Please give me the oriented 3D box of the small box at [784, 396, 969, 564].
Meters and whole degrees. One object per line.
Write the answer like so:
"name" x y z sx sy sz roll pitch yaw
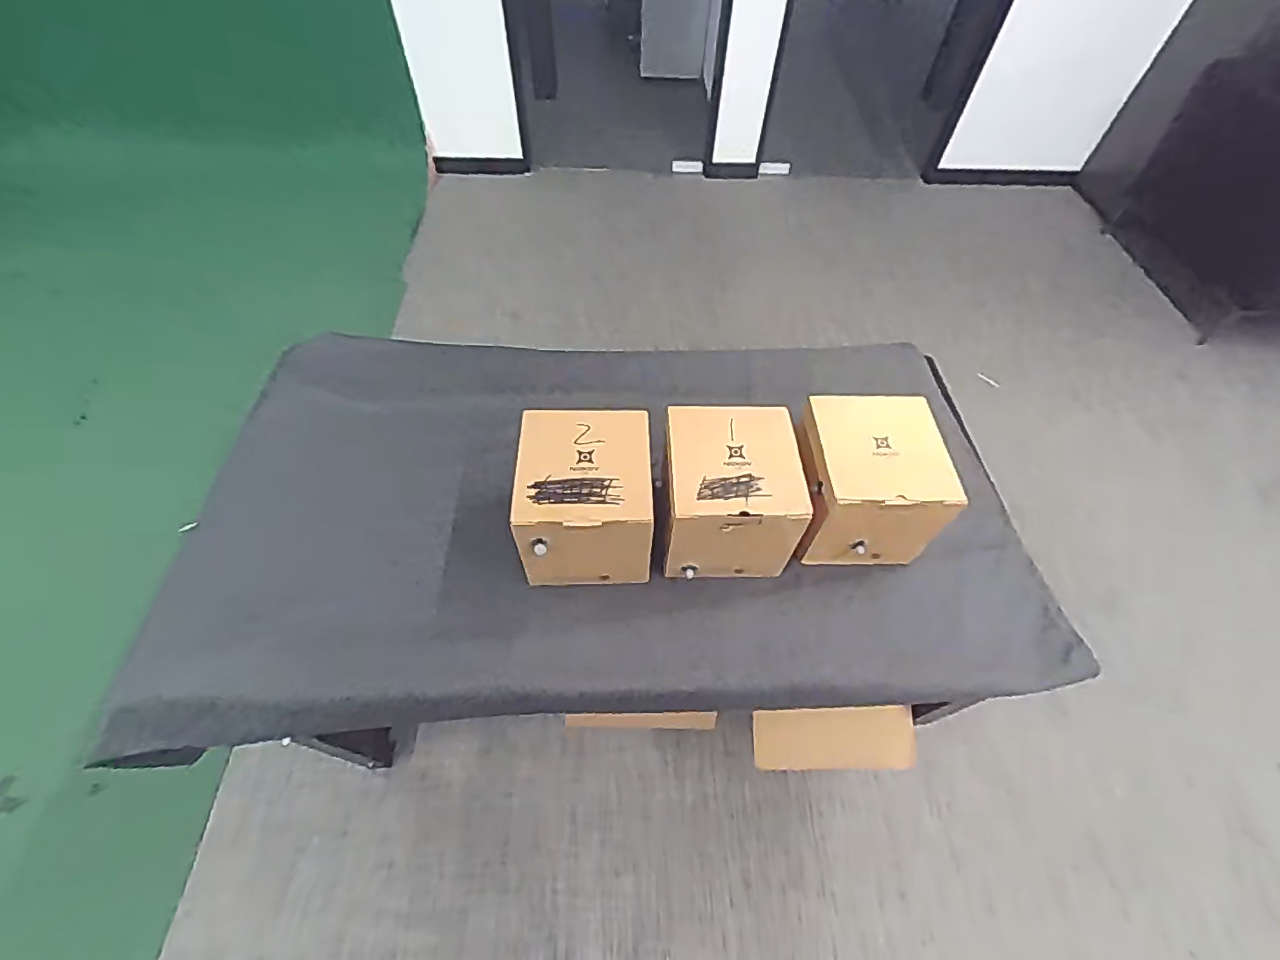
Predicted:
"small box" 0.313 0.002 0.763 0.168 0.176 0.179 0 56 -2
